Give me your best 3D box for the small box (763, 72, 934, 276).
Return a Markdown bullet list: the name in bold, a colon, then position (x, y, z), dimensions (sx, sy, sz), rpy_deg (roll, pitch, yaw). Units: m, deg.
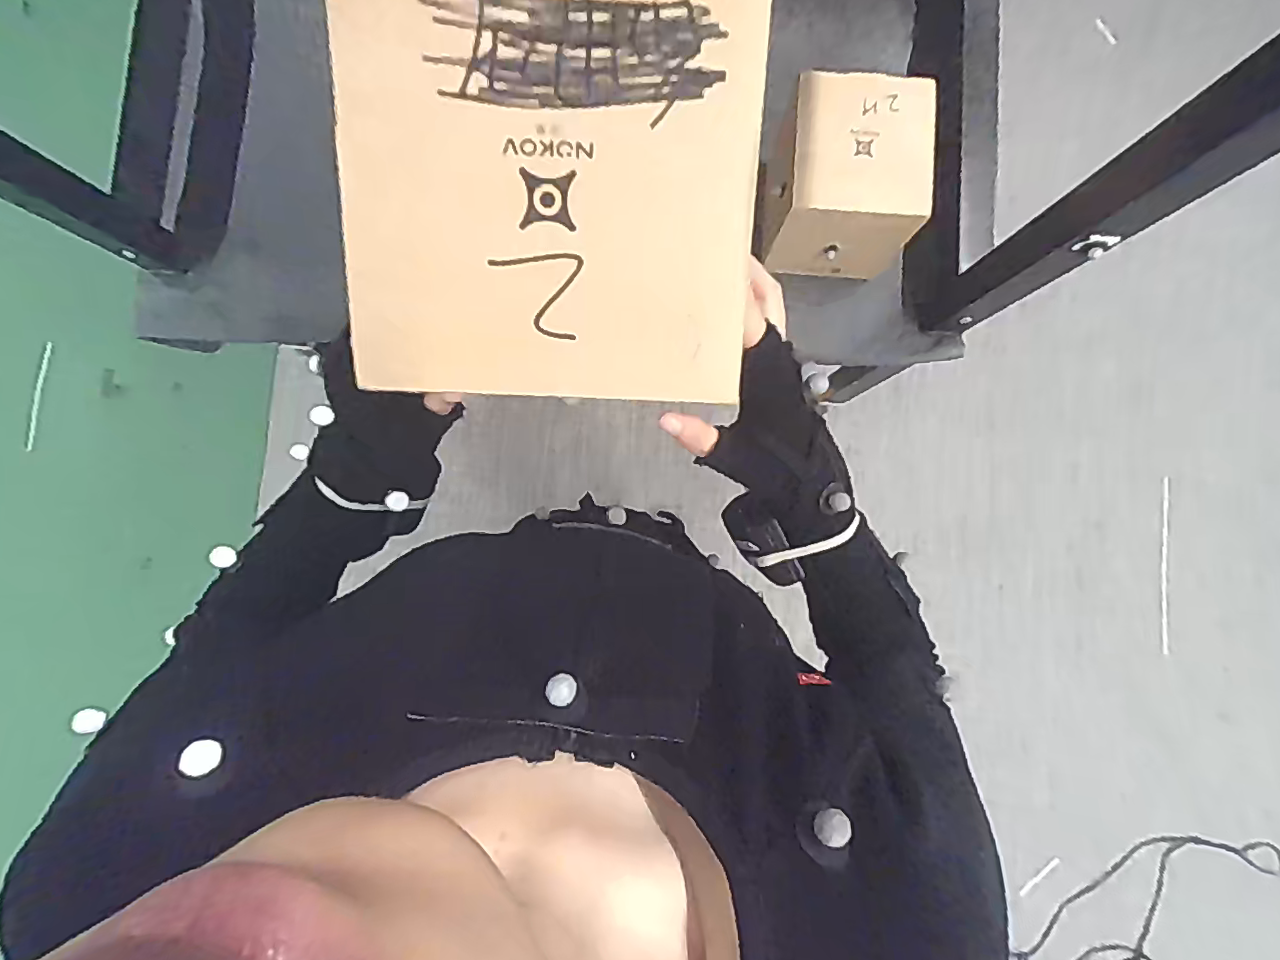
- **small box**: position (0.266, -0.394, 0.725), dimensions (0.168, 0.176, 0.179), rpy_deg (4, 85, 0)
